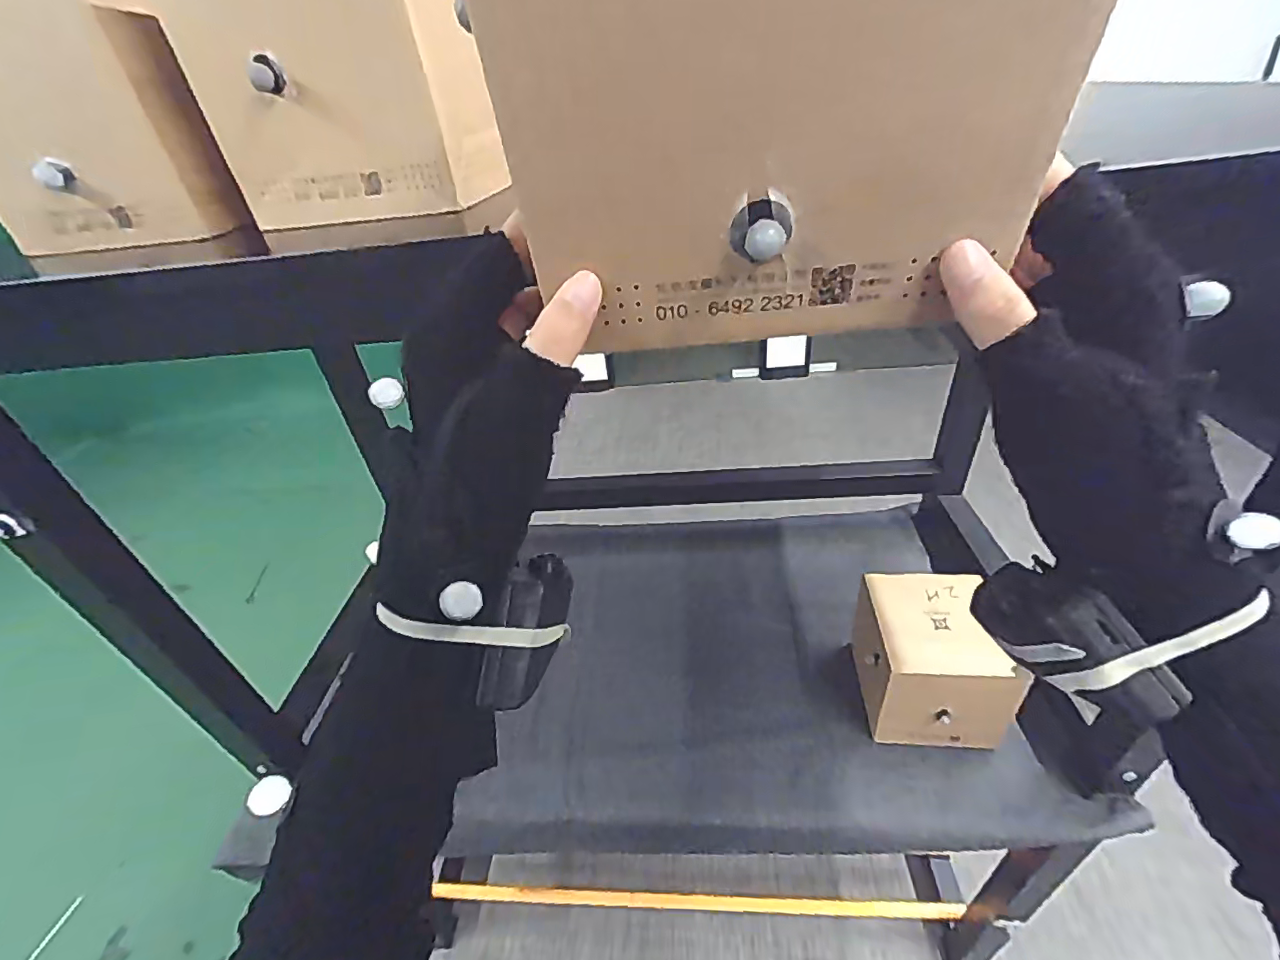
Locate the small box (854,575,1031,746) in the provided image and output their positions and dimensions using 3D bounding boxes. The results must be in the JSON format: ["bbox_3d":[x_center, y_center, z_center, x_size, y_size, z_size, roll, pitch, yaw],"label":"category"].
[{"bbox_3d":[0.418,0.259,0.783,0.168,0.176,0.179,-1,35,9],"label":"small box"}]

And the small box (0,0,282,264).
[{"bbox_3d":[-0.403,-0.288,0.445,0.168,0.176,0.179,-2,37,8],"label":"small box"}]

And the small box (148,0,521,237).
[{"bbox_3d":[-0.208,-0.298,0.427,0.168,0.176,0.179,-2,35,9],"label":"small box"}]
